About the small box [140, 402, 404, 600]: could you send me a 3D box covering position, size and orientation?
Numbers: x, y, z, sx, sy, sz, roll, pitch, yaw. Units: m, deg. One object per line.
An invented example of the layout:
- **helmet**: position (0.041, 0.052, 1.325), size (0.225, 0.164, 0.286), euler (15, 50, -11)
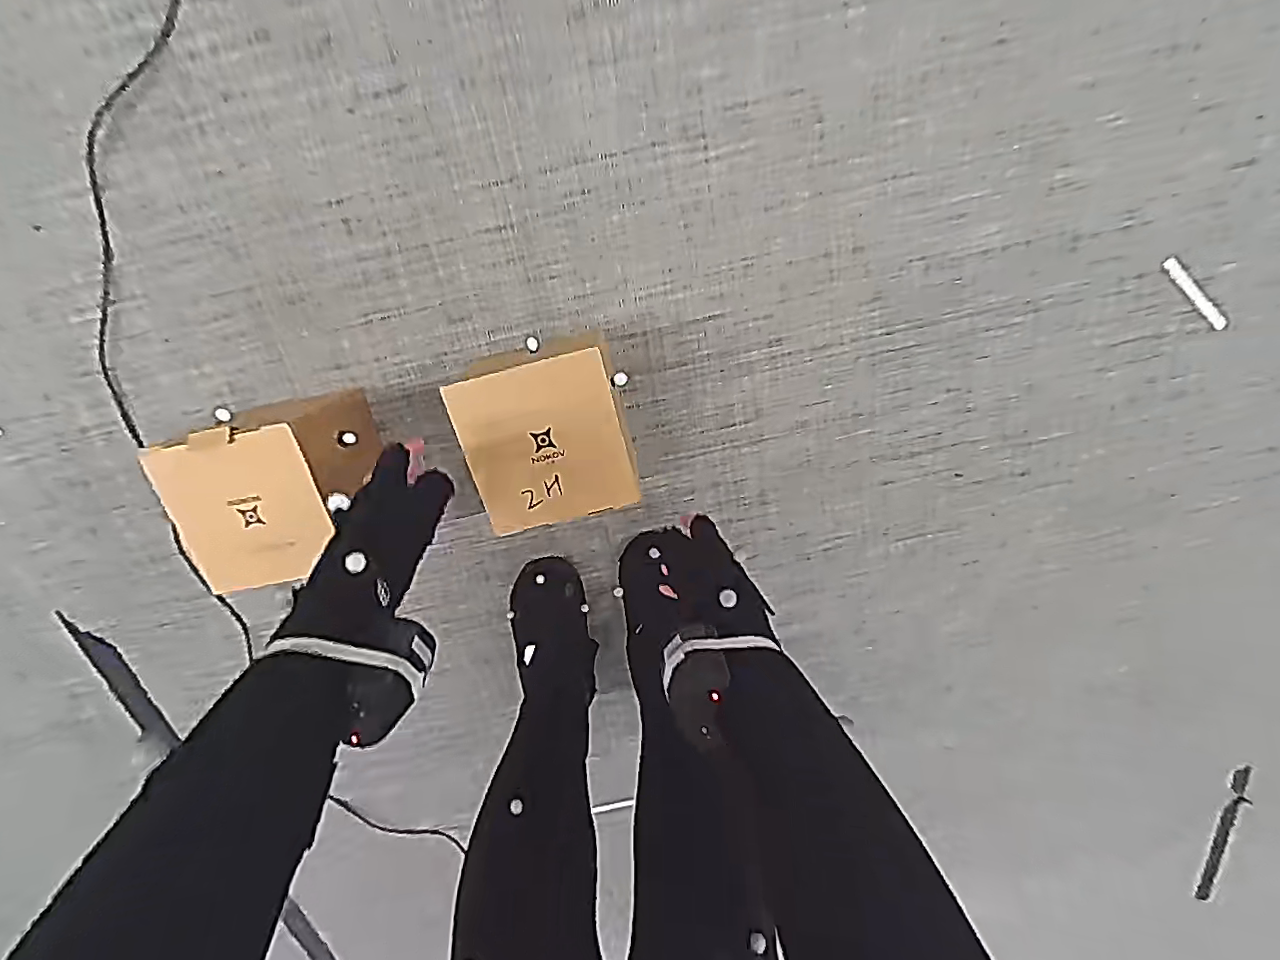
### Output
- **small box**: position (-0.414, 0.013, 0.647), size (0.168, 0.176, 0.179), euler (-10, 112, 2)

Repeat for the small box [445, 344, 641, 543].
- **small box**: position (-0.100, -0.054, 0.632), size (0.168, 0.176, 0.179), euler (-13, 112, 3)
